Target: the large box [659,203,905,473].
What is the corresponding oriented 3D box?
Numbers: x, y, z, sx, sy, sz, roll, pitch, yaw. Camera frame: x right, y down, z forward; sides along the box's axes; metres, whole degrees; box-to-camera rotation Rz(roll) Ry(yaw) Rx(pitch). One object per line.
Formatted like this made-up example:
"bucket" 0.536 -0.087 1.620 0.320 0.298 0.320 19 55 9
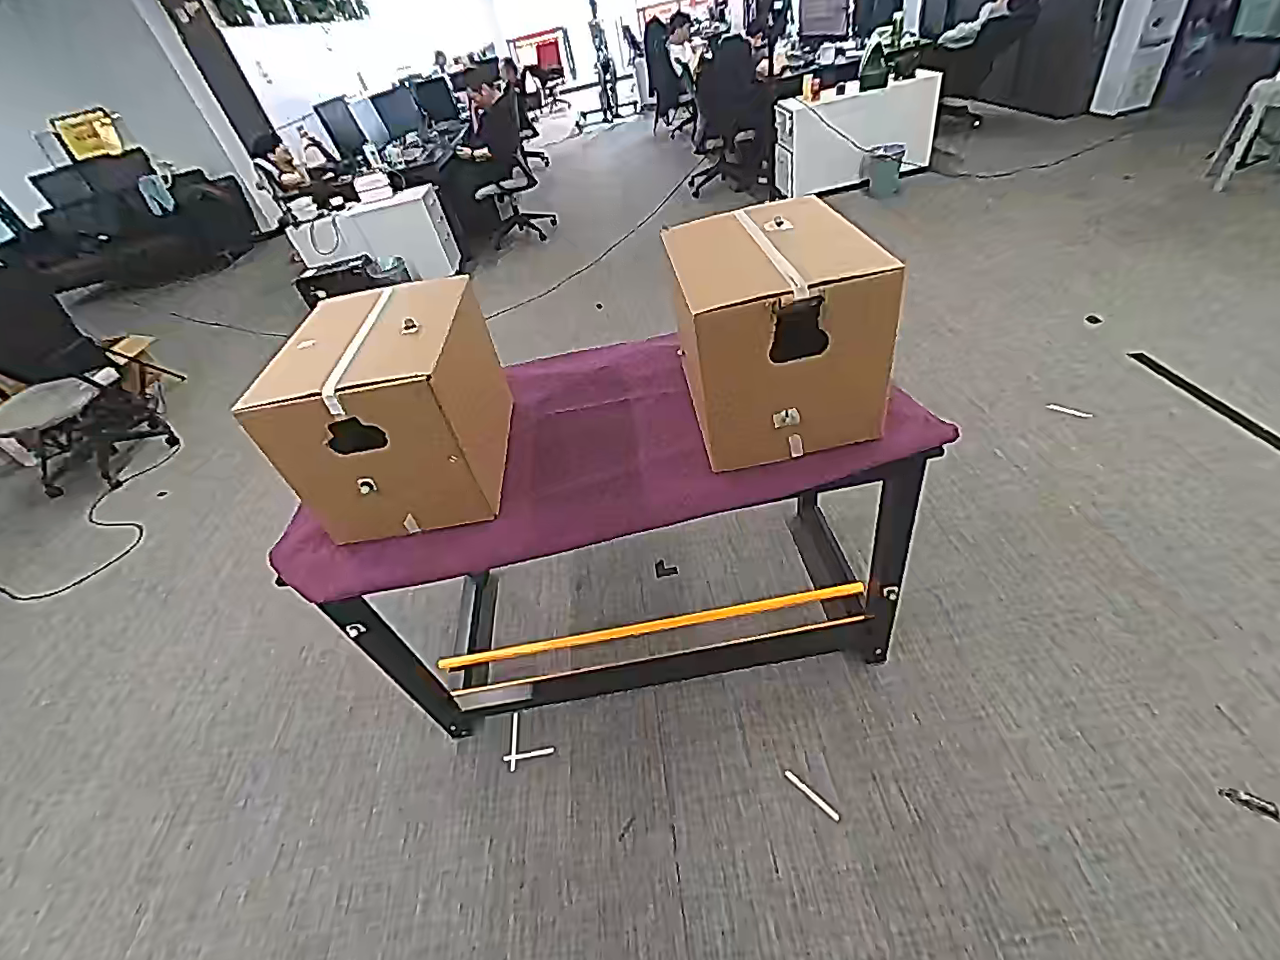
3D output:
"large box" 0.236 -0.274 1.011 0.320 0.320 0.408 -11 40 2
